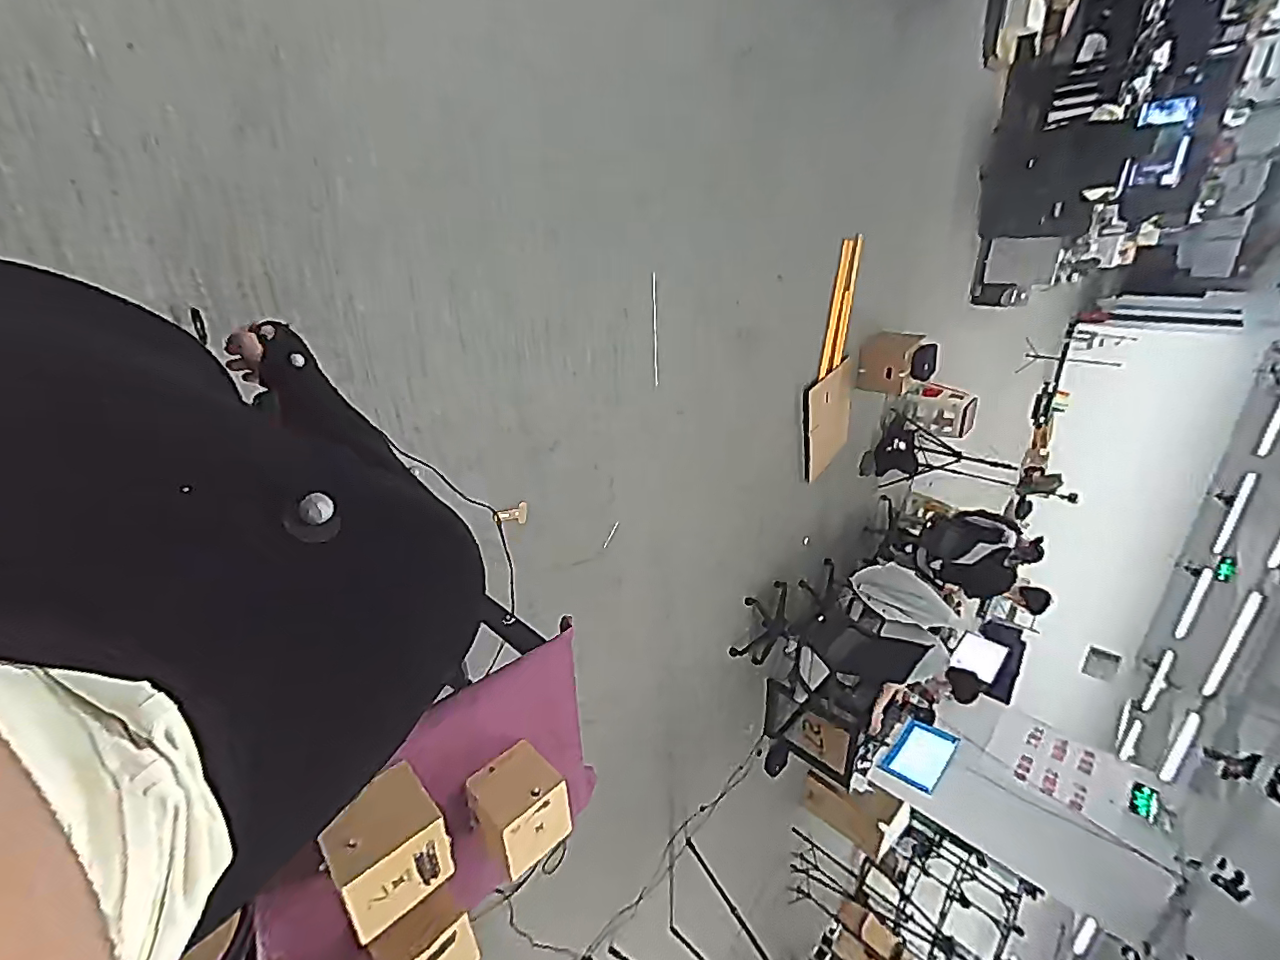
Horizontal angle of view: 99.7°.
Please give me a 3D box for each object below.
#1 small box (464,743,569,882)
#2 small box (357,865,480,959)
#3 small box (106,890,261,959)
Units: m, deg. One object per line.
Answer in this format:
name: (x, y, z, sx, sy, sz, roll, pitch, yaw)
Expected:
small box: (-0.283, 0.754, 1.245, 0.168, 0.176, 0.179, -25, 122, -42)
small box: (-0.463, 0.959, 1.130, 0.168, 0.176, 0.179, -25, 123, -40)
small box: (-0.681, 0.786, 0.820, 0.168, 0.176, 0.179, -23, 122, -41)
